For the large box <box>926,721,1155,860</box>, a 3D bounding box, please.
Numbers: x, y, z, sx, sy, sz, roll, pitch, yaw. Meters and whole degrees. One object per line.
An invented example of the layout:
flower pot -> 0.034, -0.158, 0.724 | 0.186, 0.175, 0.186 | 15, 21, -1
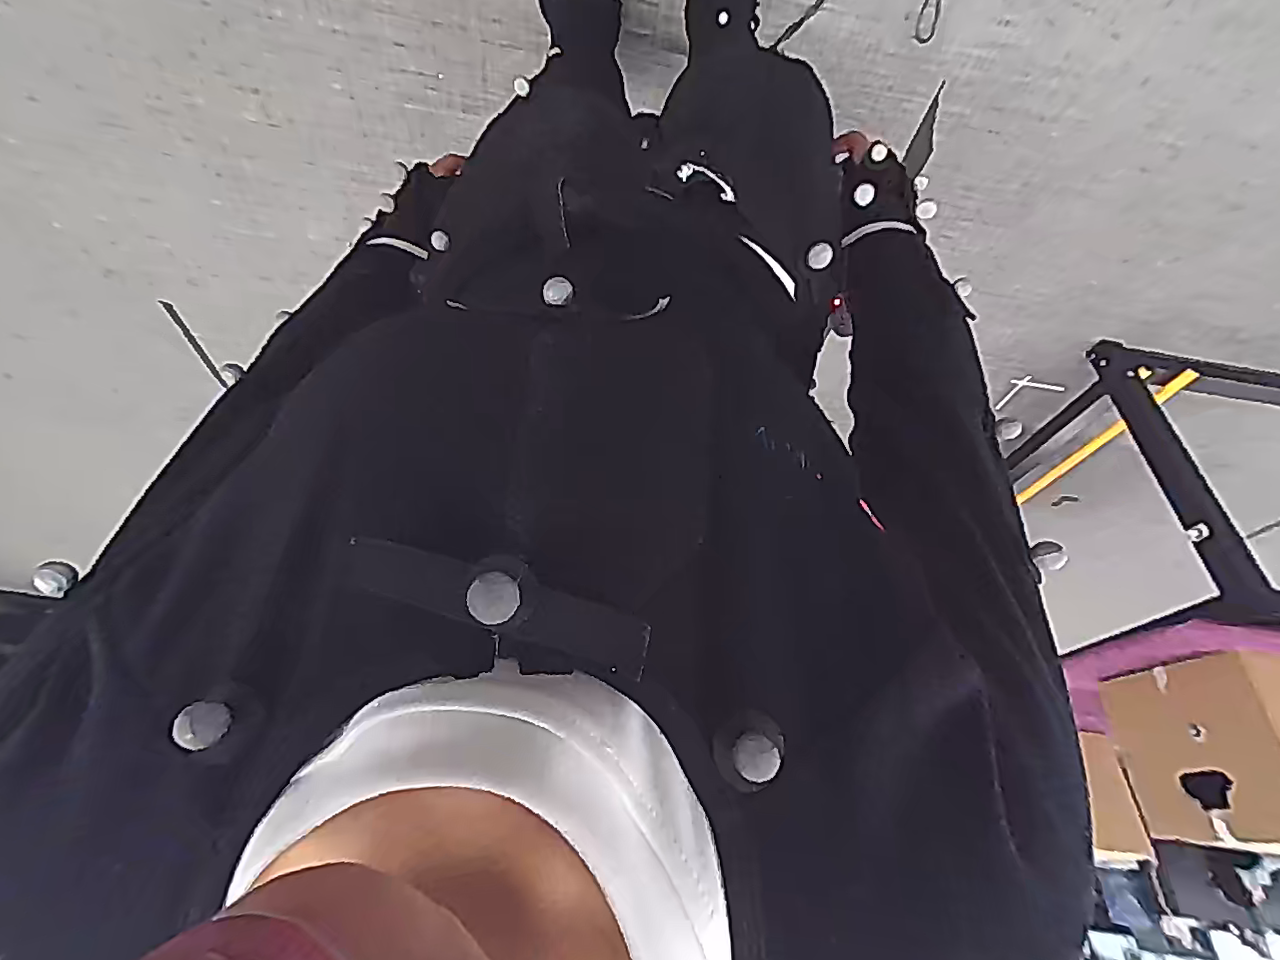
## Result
large box -> 1.165, 0.937, 1.632 | 0.408, 0.320, 0.320 | 8, 145, -4
